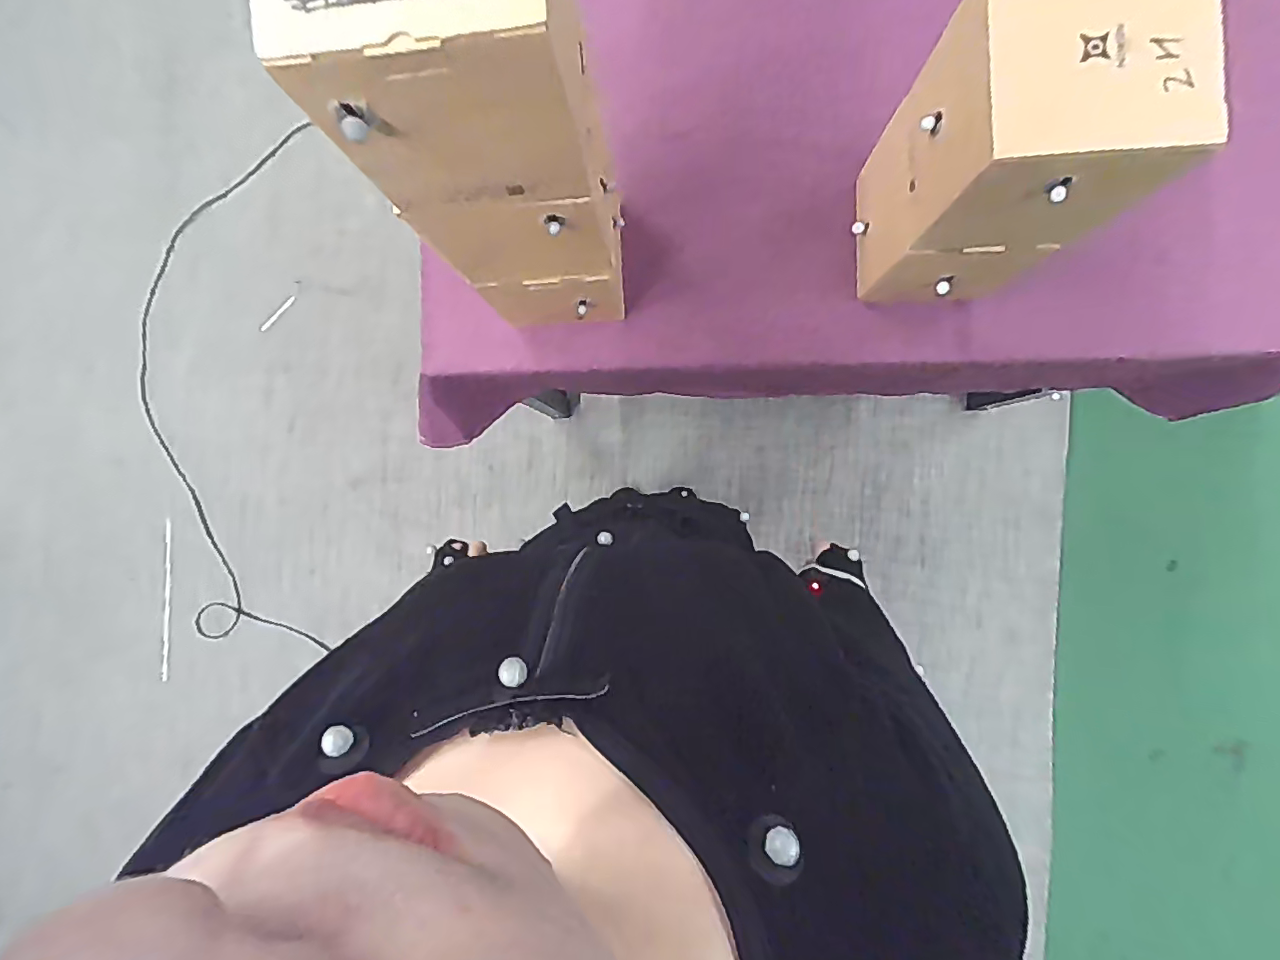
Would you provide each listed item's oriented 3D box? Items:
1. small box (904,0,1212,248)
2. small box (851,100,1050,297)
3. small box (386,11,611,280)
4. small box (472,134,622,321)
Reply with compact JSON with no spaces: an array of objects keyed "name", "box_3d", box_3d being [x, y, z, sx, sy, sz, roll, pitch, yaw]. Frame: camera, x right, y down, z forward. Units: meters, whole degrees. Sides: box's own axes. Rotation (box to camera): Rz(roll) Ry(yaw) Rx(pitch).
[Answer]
[{"name":"small box","box_3d":[0.367,-0.334,0.511,0.179,0.176,0.168,-1,90,4]},{"name":"small box","box_3d":[0.375,-0.336,0.676,0.168,0.176,0.179,0,91,3]},{"name":"small box","box_3d":[-0.127,-0.315,0.545,0.179,0.176,0.168,-4,90,2]},{"name":"small box","box_3d":[-0.114,-0.314,0.707,0.168,0.176,0.179,-2,89,3]}]
